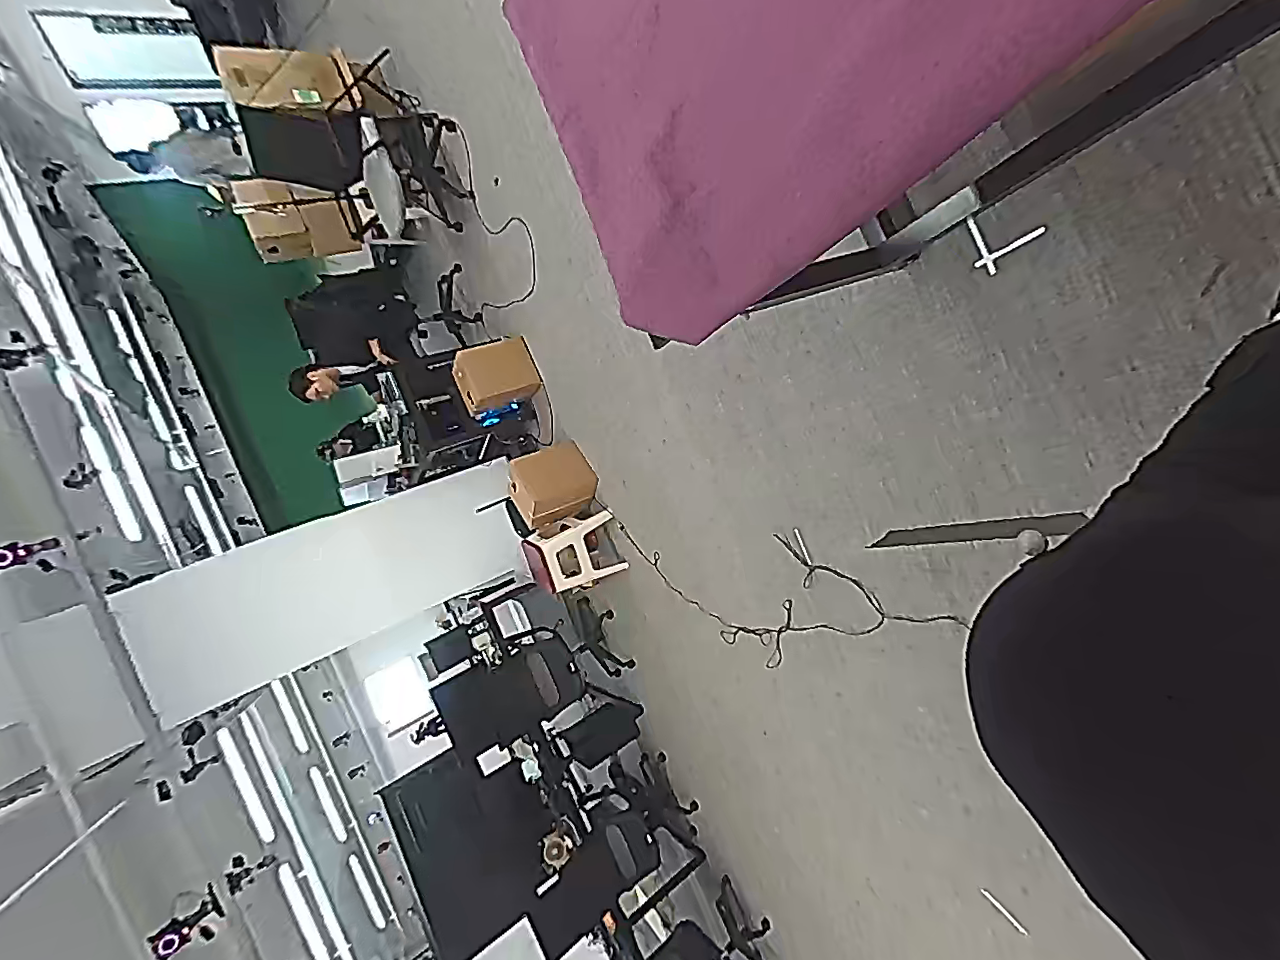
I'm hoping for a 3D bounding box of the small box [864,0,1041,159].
[{"bbox_3d":[0.521,-0.677,0.904,0.168,0.176,0.179,-22,95,61],"label":"small box"}]
